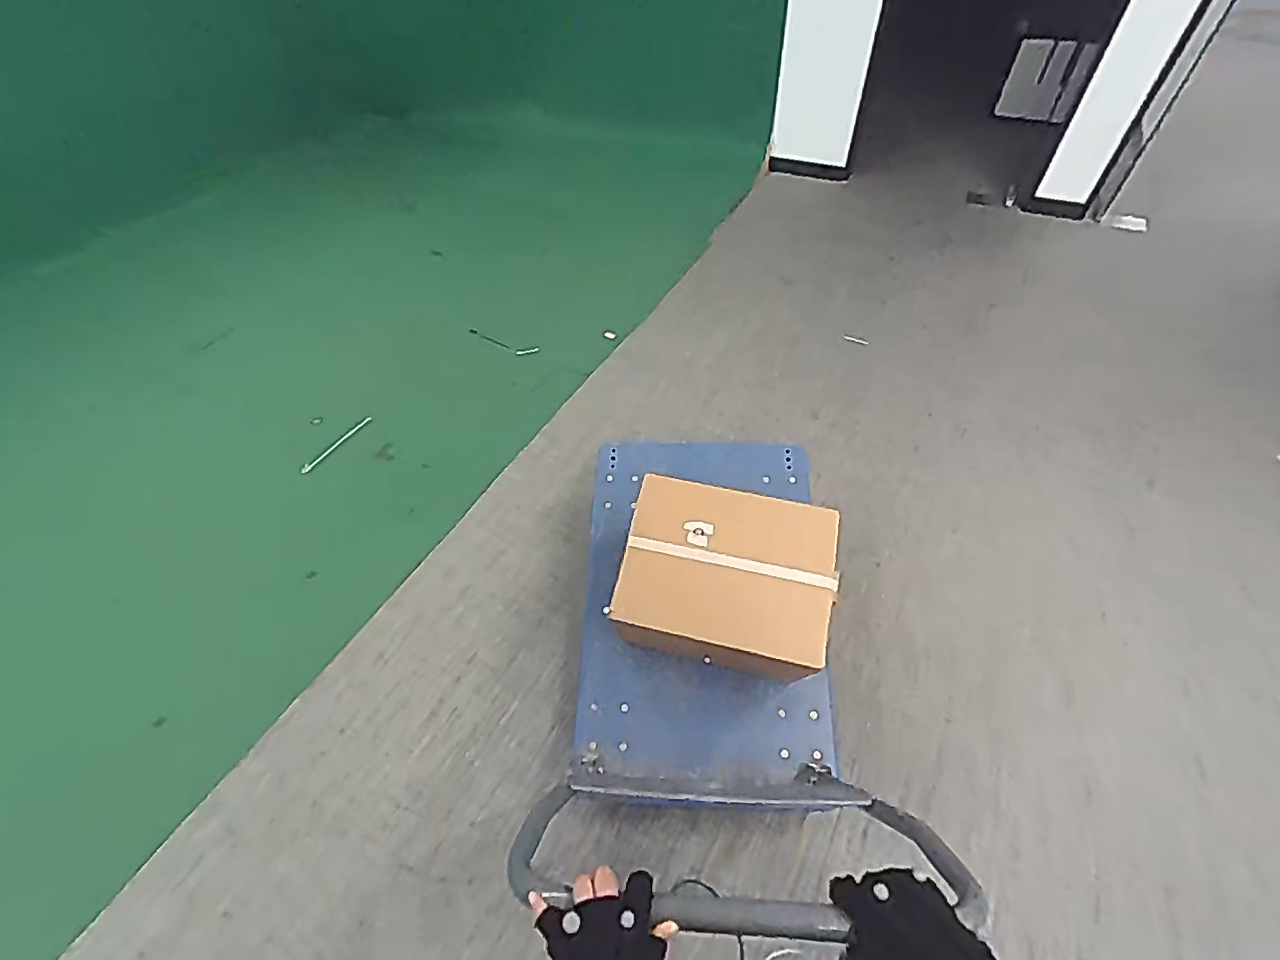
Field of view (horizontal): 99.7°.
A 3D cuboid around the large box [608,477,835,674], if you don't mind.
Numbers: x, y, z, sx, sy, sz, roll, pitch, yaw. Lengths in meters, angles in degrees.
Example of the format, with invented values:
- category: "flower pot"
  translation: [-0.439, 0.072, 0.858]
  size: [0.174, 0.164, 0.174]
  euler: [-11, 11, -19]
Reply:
- category: "large box"
  translation: [0.179, 0.222, 1.190]
  size: [0.408, 0.320, 0.320]
  euler: [11, 67, 10]
